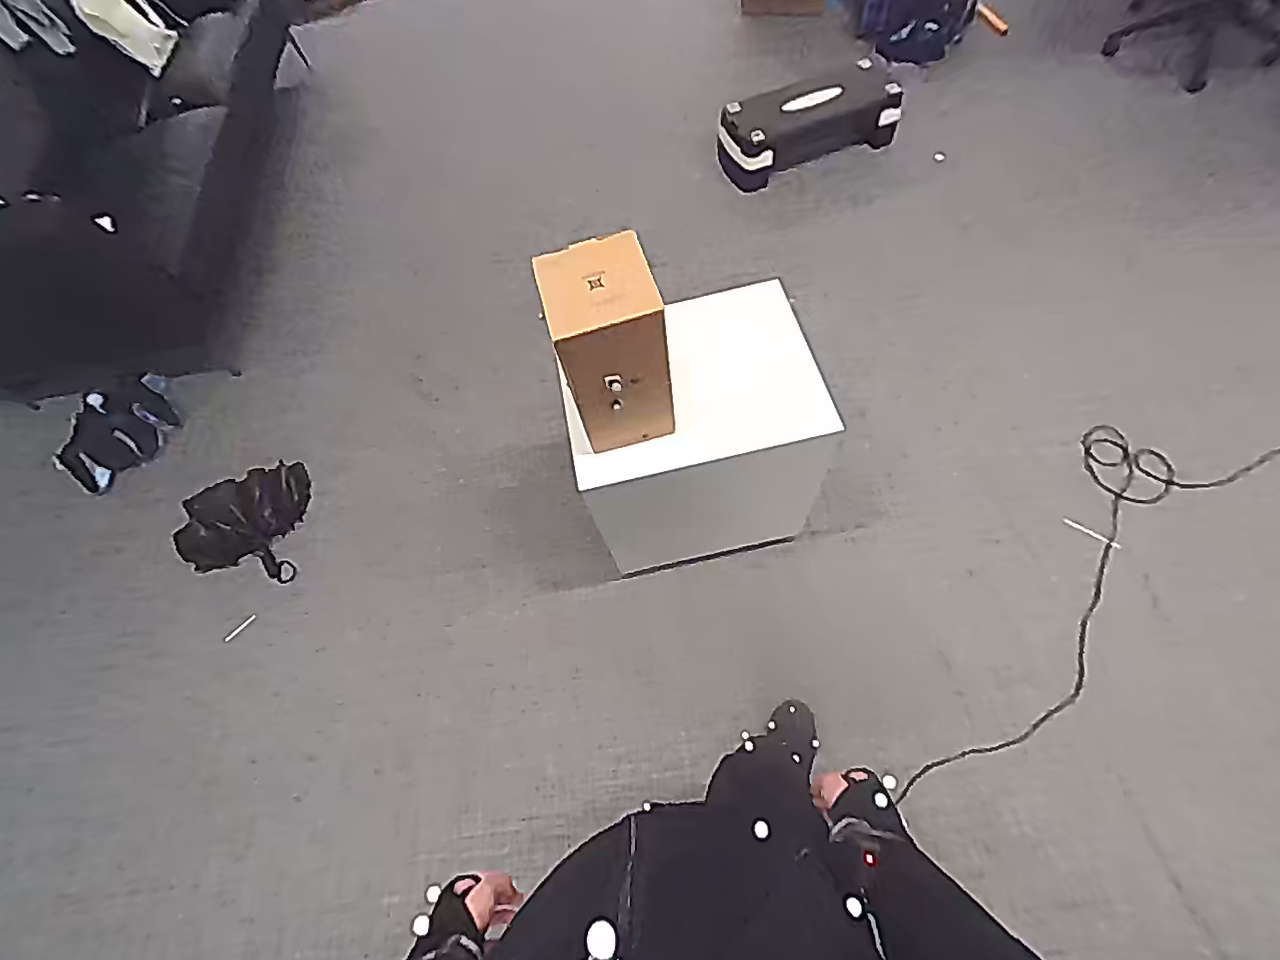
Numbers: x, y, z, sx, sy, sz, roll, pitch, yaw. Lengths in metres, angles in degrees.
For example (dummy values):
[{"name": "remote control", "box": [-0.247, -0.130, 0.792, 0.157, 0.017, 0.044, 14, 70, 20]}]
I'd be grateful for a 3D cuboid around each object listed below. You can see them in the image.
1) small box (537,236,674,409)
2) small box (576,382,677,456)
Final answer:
[{"name": "small box", "box": [-0.050, -0.243, 0.859, 0.168, 0.176, 0.179, -17, 63, 0]}, {"name": "small box", "box": [-0.031, -0.172, 1.004, 0.168, 0.176, 0.179, -15, 62, 0]}]
